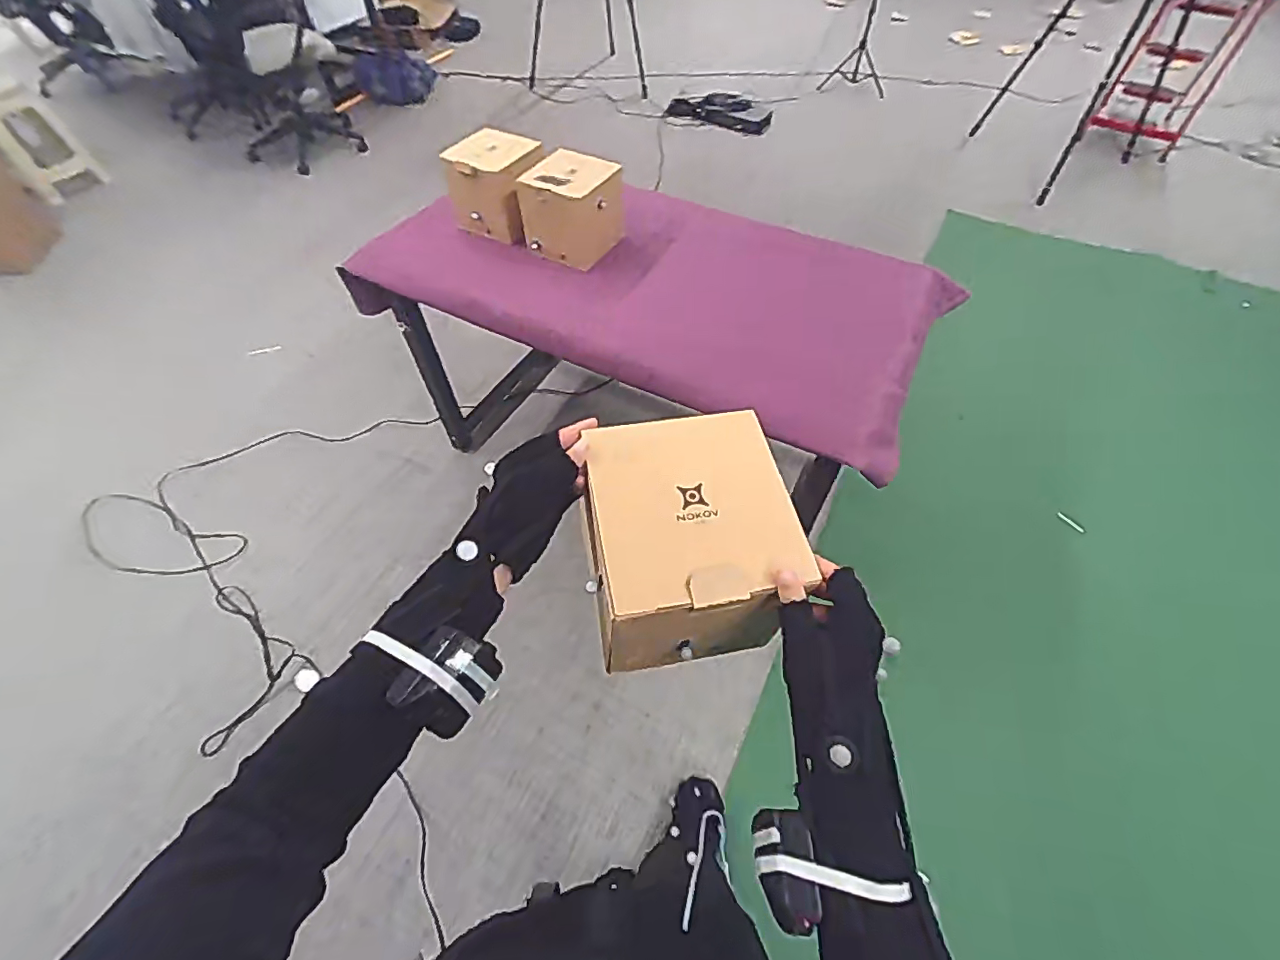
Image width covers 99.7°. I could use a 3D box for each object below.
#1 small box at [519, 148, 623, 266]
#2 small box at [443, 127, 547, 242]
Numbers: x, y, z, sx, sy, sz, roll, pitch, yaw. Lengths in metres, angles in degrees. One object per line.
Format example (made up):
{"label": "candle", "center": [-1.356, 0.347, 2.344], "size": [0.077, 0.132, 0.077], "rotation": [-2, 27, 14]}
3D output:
{"label": "small box", "center": [-0.146, -0.618, 1.231], "size": [0.168, 0.176, 0.179], "rotation": [25, 58, 17]}
{"label": "small box", "center": [-0.332, -0.705, 1.293], "size": [0.168, 0.176, 0.179], "rotation": [24, 59, 17]}
